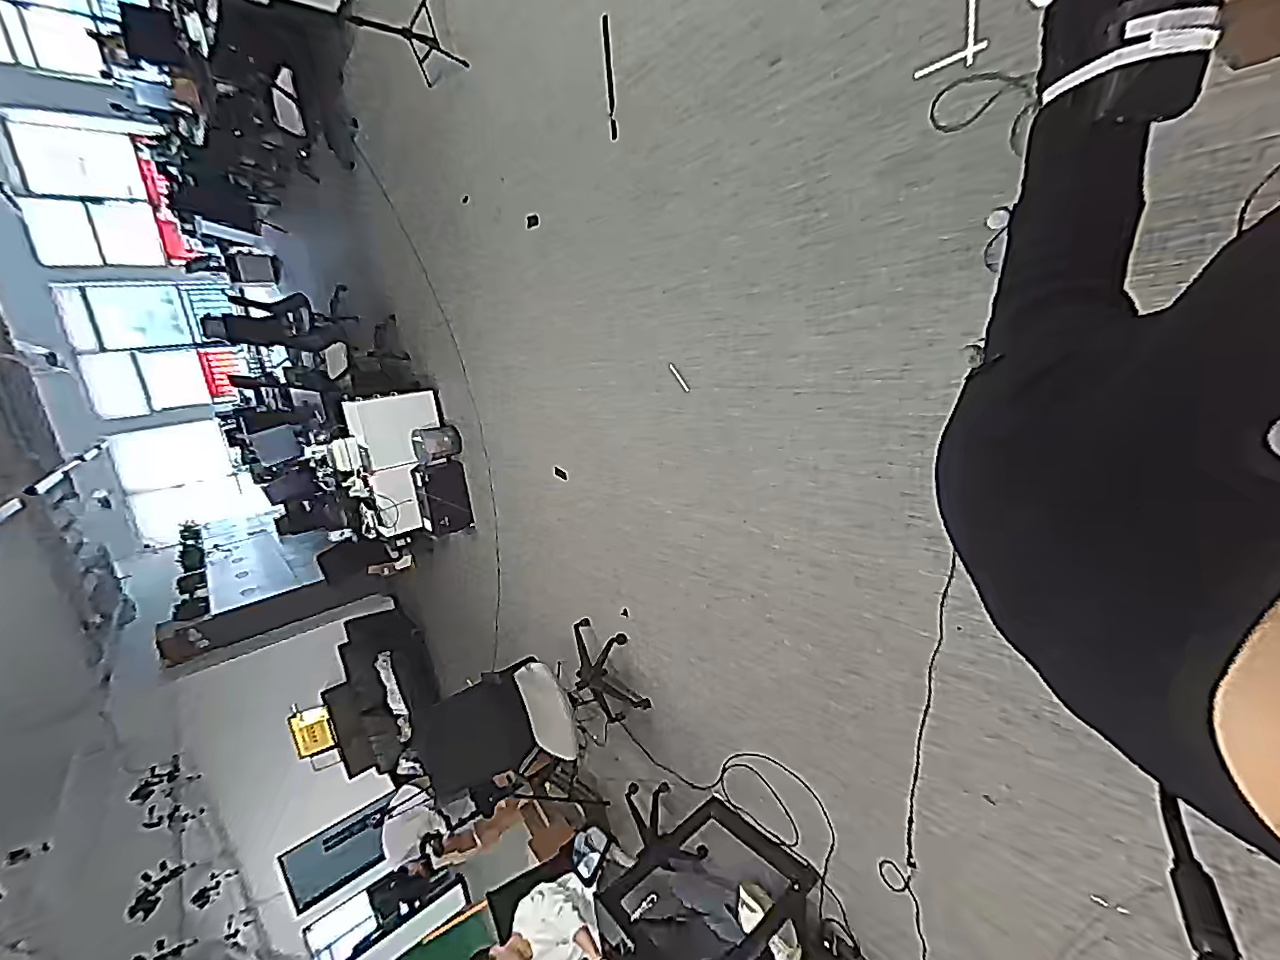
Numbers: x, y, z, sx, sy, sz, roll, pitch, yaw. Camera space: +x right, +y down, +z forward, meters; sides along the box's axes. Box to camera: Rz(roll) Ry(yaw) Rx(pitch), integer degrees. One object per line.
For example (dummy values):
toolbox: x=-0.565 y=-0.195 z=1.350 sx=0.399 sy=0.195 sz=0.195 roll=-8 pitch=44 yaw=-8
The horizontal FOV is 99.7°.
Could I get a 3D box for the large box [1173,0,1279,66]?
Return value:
large box: x=0.553 y=-0.468 z=0.243 sx=0.408 sy=0.320 sz=0.320 roll=11 pitch=119 yaw=50
